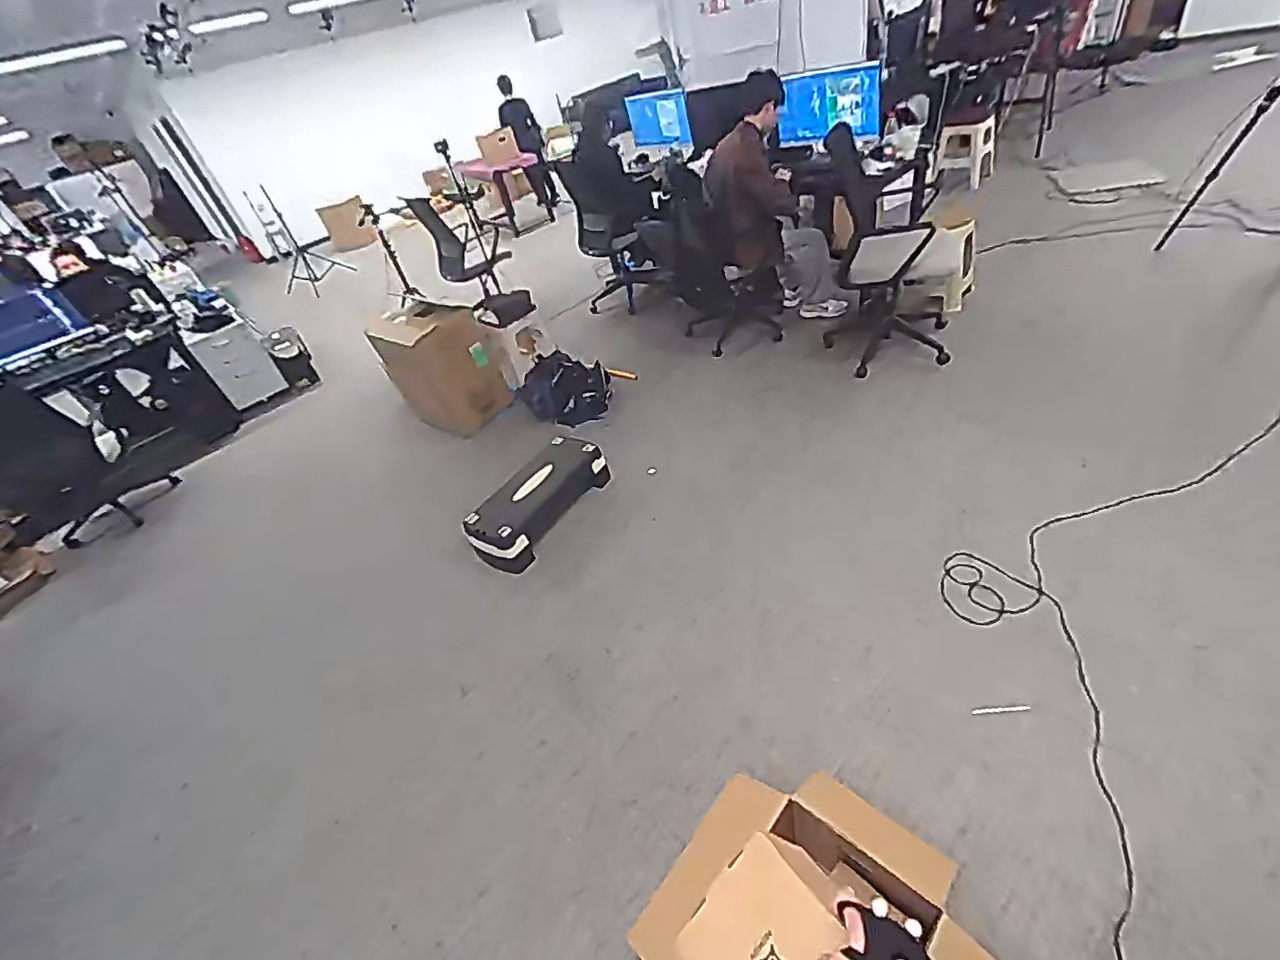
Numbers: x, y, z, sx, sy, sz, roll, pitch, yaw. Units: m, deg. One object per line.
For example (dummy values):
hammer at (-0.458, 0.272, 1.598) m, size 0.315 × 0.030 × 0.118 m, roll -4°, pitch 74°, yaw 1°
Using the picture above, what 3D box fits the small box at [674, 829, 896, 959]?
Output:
small box at (0.179, 0.567, 0.642) m, size 0.168 × 0.176 × 0.179 m, roll -47°, pitch 39°, yaw -8°
